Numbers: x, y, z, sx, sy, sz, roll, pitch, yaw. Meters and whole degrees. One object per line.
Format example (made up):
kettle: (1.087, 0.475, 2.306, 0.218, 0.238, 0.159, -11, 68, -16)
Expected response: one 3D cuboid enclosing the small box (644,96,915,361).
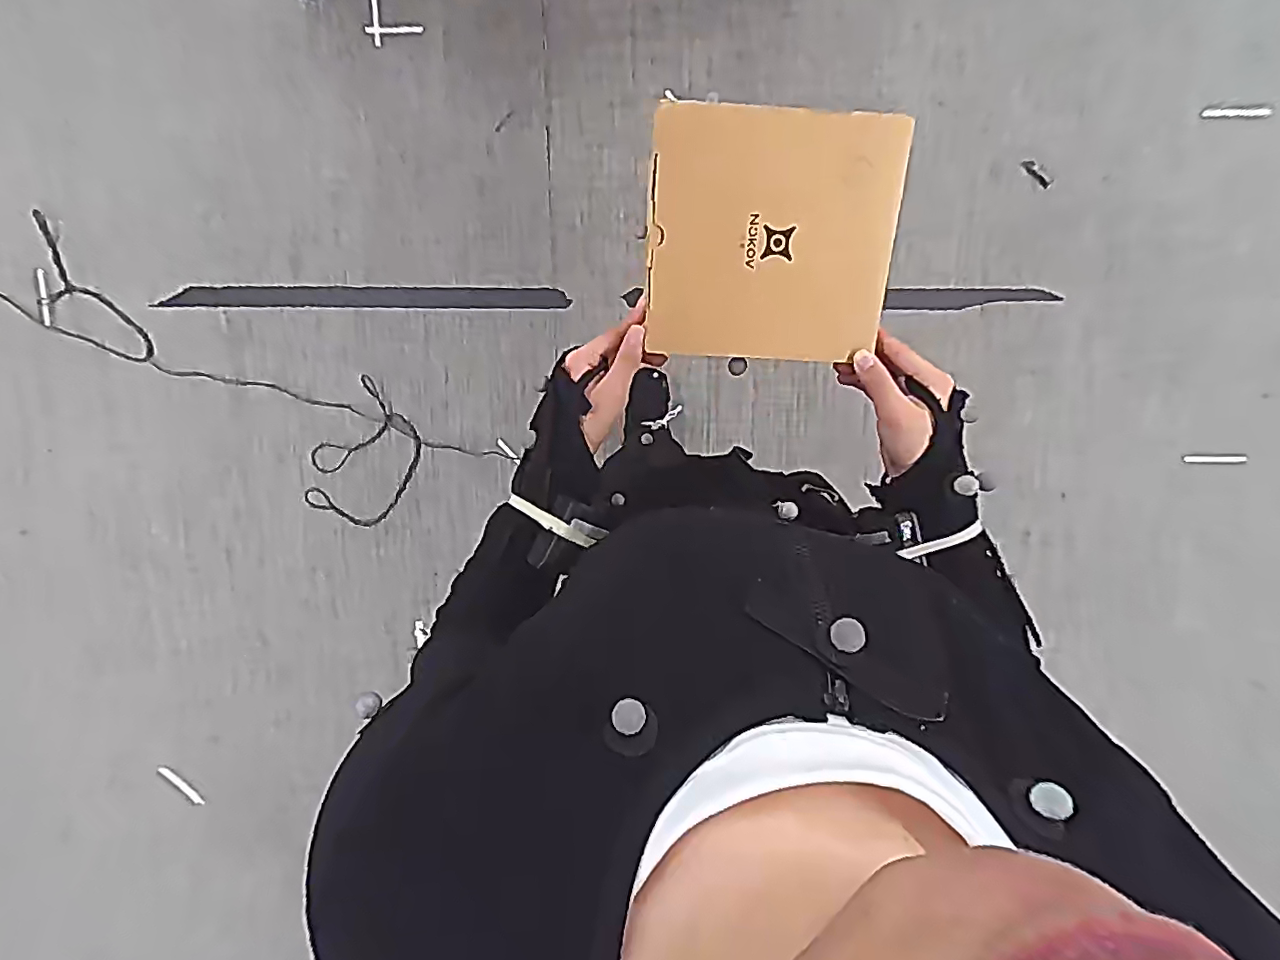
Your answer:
small box: (0.096, -0.199, 0.463, 0.179, 0.176, 0.168, 3, 108, 0)
